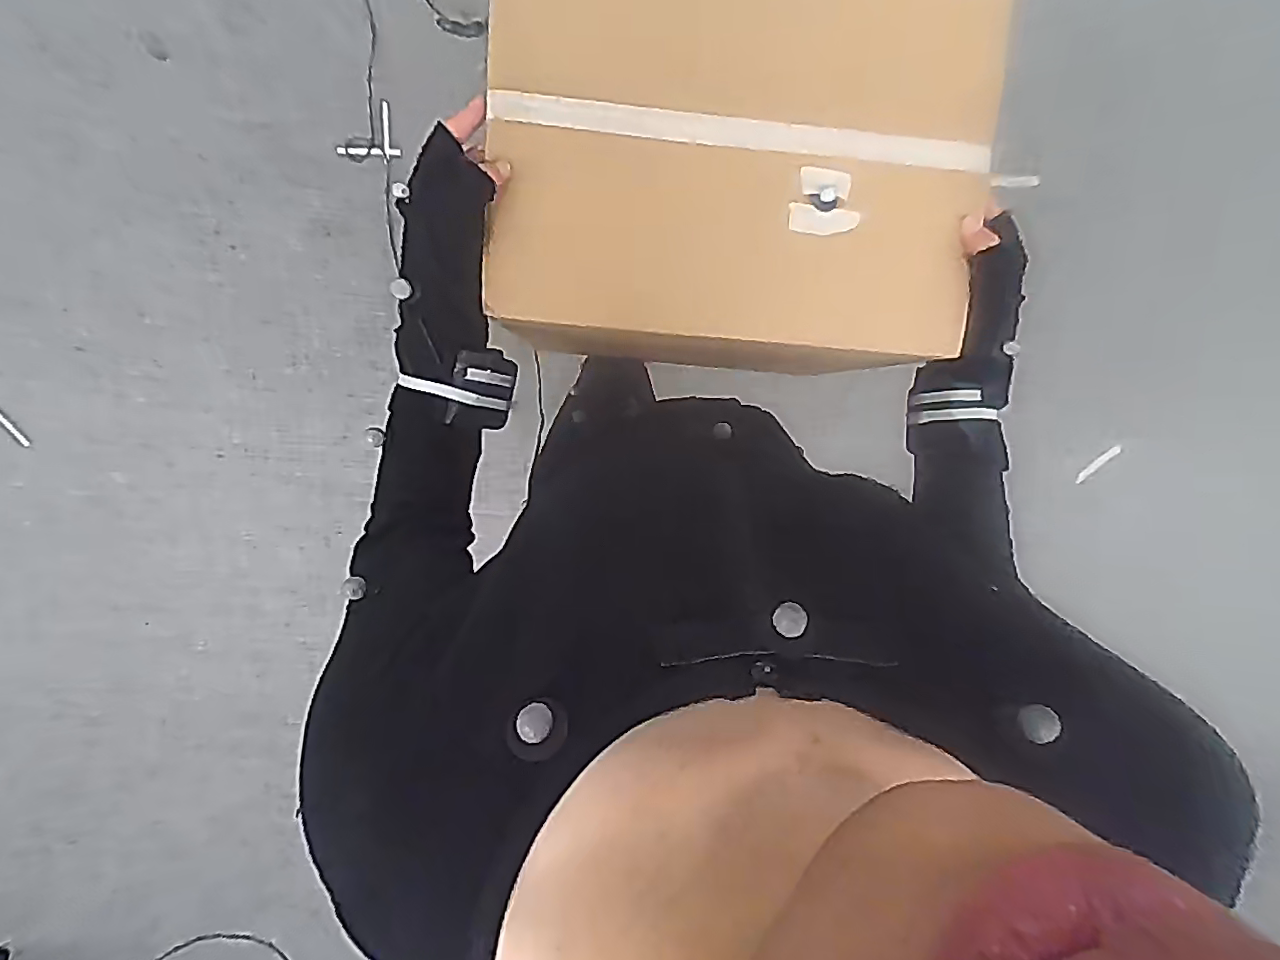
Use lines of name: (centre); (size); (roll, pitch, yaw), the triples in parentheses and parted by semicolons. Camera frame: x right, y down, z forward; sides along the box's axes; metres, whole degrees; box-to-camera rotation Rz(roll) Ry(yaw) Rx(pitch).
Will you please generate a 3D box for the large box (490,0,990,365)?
large box: (0.070, -0.304, 0.587); (0.408, 0.320, 0.320); (4, 98, -4)
